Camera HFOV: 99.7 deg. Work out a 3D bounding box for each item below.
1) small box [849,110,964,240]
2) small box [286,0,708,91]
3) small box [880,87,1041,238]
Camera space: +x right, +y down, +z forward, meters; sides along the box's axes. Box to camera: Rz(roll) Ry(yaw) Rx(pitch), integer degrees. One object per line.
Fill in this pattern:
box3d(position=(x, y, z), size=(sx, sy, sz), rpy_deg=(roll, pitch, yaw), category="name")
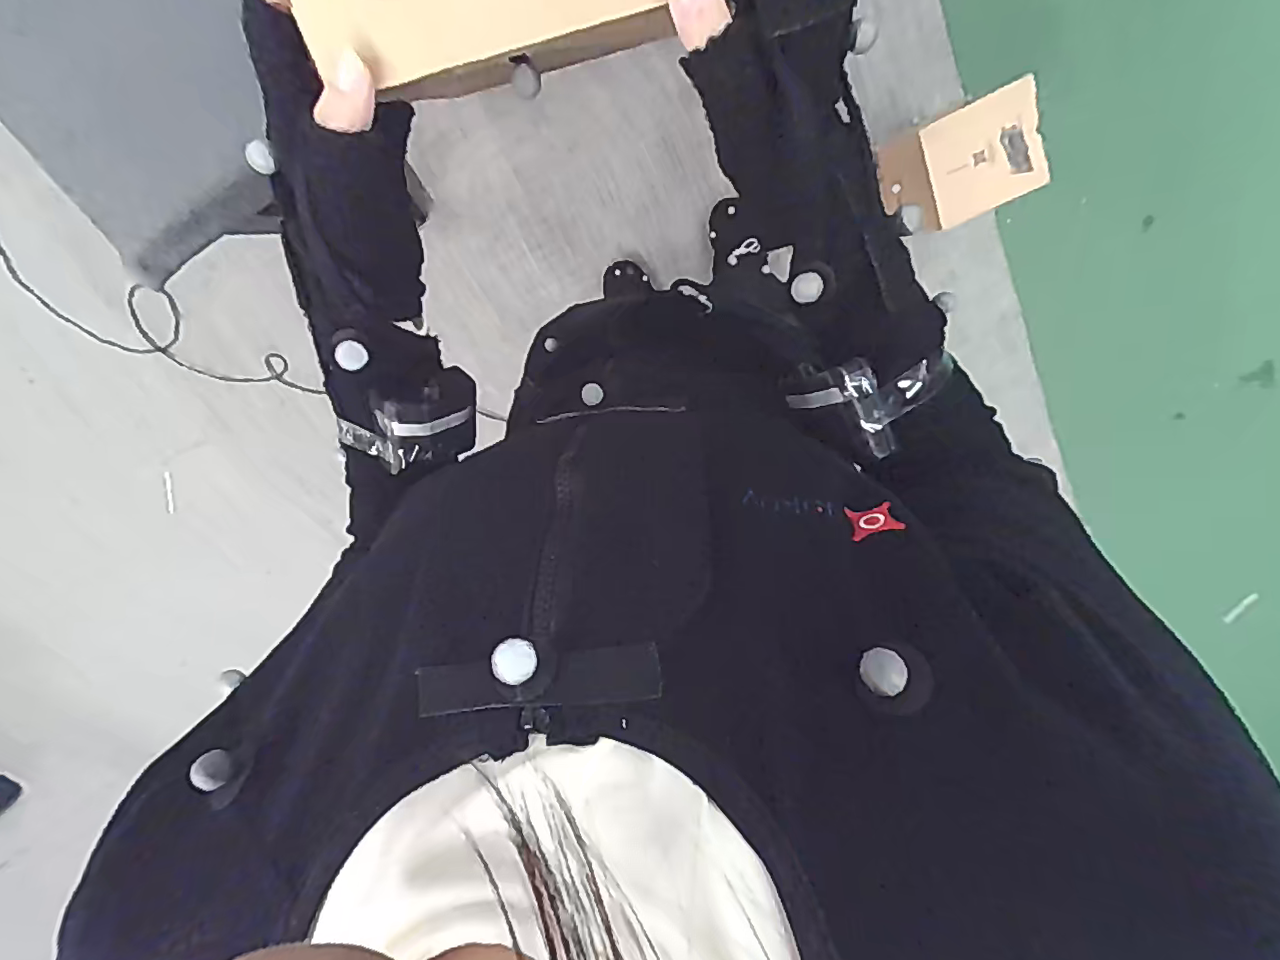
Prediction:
box3d(position=(0.557, -0.612, 1.104), size=(0.179, 0.176, 0.168), rpy_deg=(-23, 110, 13), category="small box")
box3d(position=(-0.060, -0.286, 0.234), size=(0.179, 0.176, 0.168), rpy_deg=(-9, 125, 8), category="small box")
box3d(position=(0.555, -0.545, 0.953), size=(0.179, 0.176, 0.168), rpy_deg=(-22, 110, 12), category="small box")
